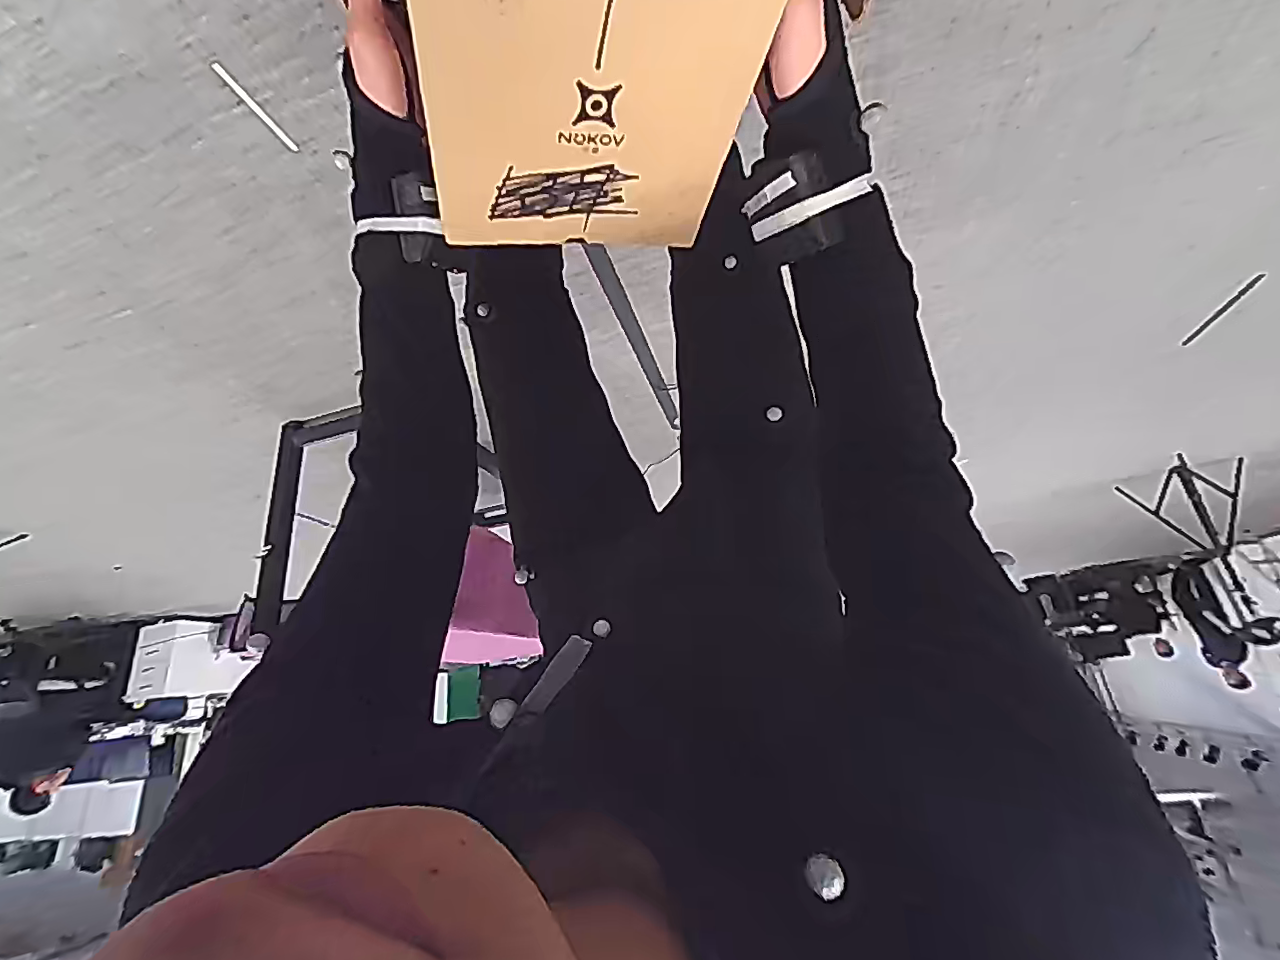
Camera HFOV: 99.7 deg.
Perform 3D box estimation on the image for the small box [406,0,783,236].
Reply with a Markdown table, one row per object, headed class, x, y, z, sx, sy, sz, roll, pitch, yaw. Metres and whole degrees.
| class | x | y | z | sx | sy | sz | roll | pitch | yaw |
| --- | --- | --- | --- | --- | --- | --- | --- | --- | --- |
| small box | -0.041 | -0.268 | 0.303 | 0.168 | 0.176 | 0.179 | -7 | 162 | -15 |
